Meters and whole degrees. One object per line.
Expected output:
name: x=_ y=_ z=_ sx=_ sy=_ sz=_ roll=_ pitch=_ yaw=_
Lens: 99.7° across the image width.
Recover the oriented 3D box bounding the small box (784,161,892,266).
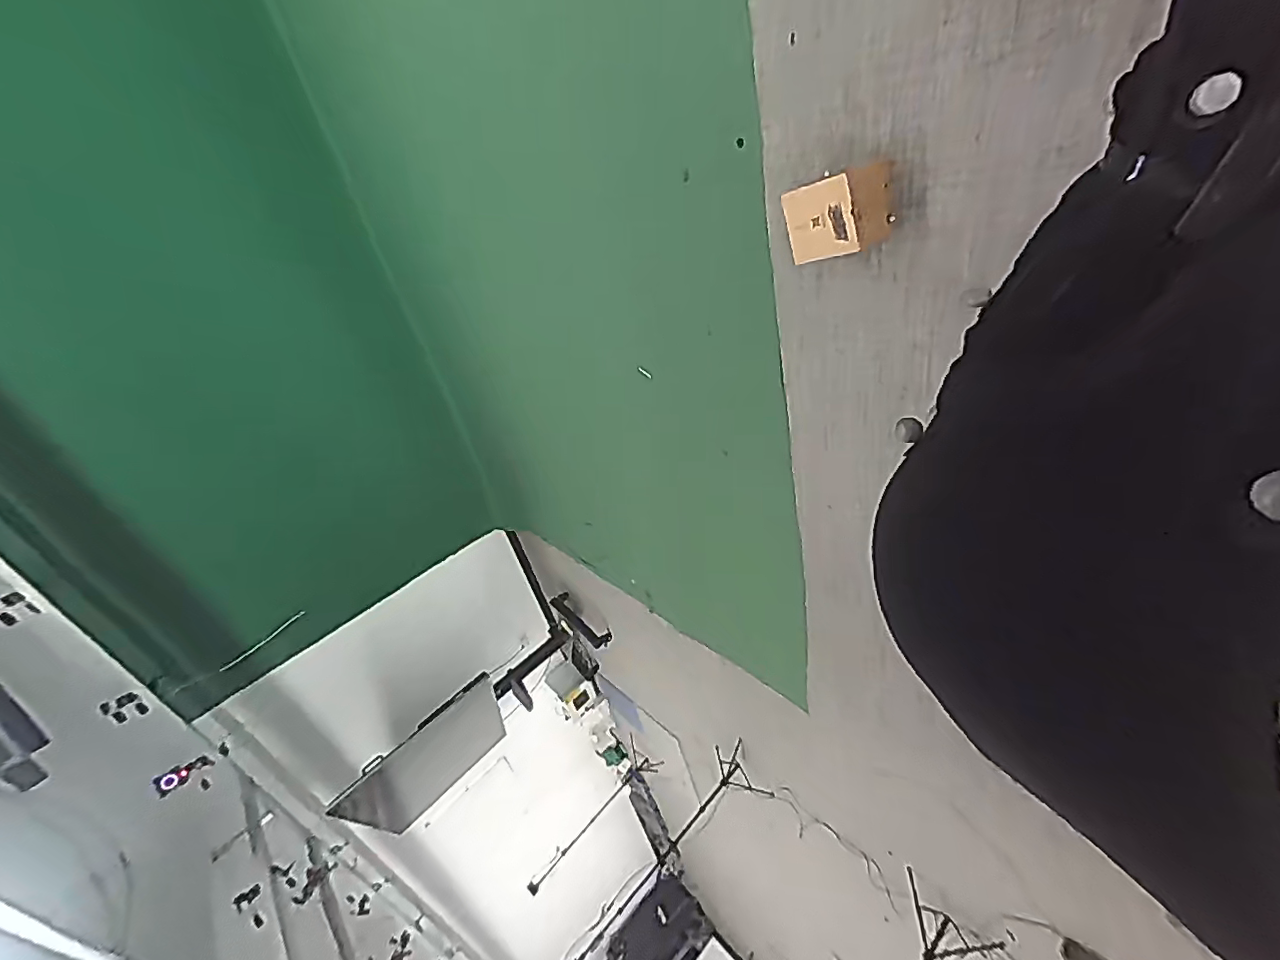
small box: x=0.473 y=-0.627 z=1.275 sx=0.179 sy=0.176 sz=0.168 roll=12 pitch=129 yaw=52
